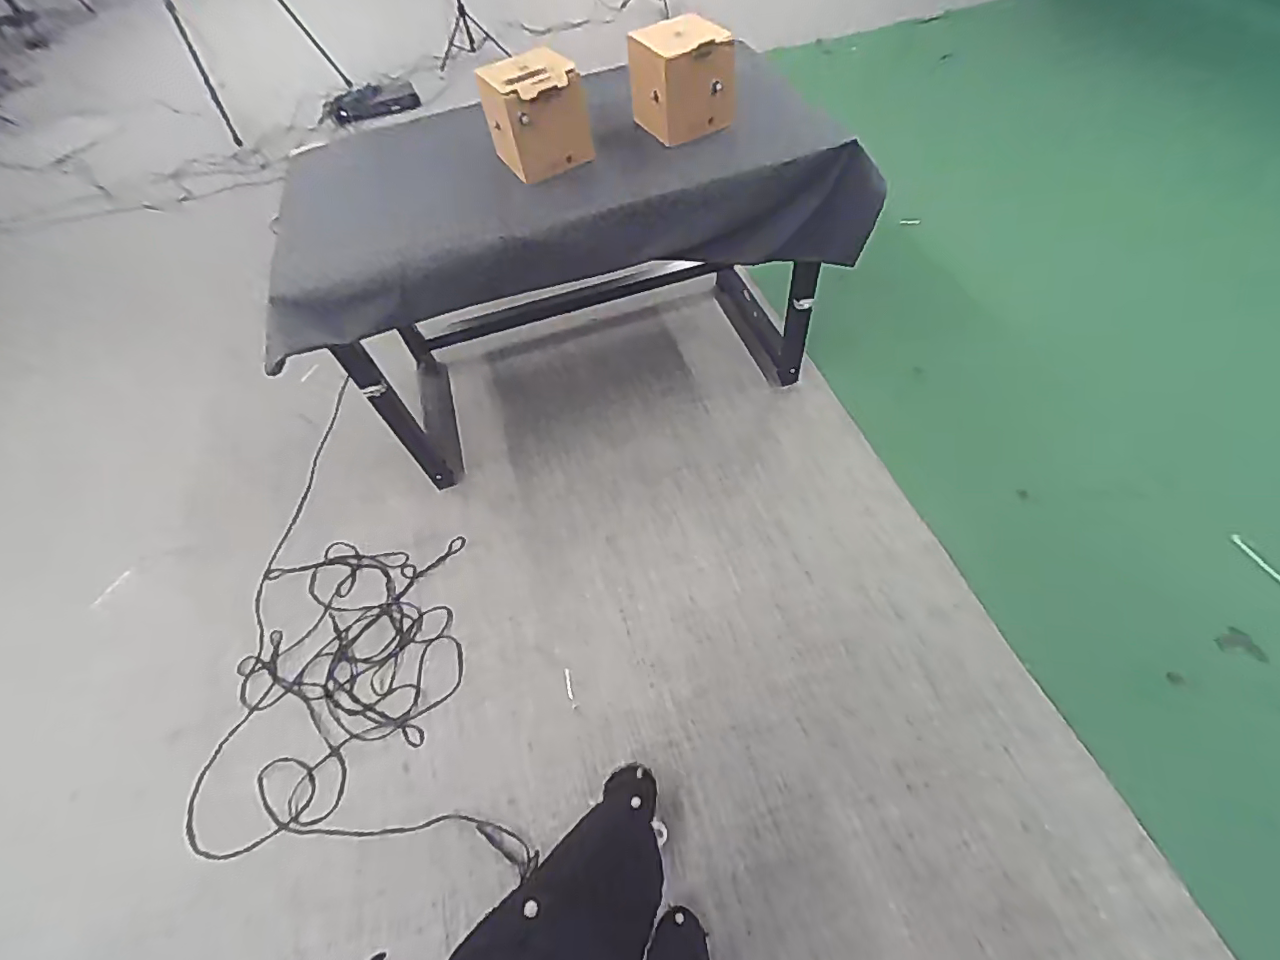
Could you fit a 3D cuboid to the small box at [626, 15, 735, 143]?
[{"bbox_3d":[0.088,-0.857,1.165,0.168,0.176,0.179,-26,56,-12],"label":"small box"}]
